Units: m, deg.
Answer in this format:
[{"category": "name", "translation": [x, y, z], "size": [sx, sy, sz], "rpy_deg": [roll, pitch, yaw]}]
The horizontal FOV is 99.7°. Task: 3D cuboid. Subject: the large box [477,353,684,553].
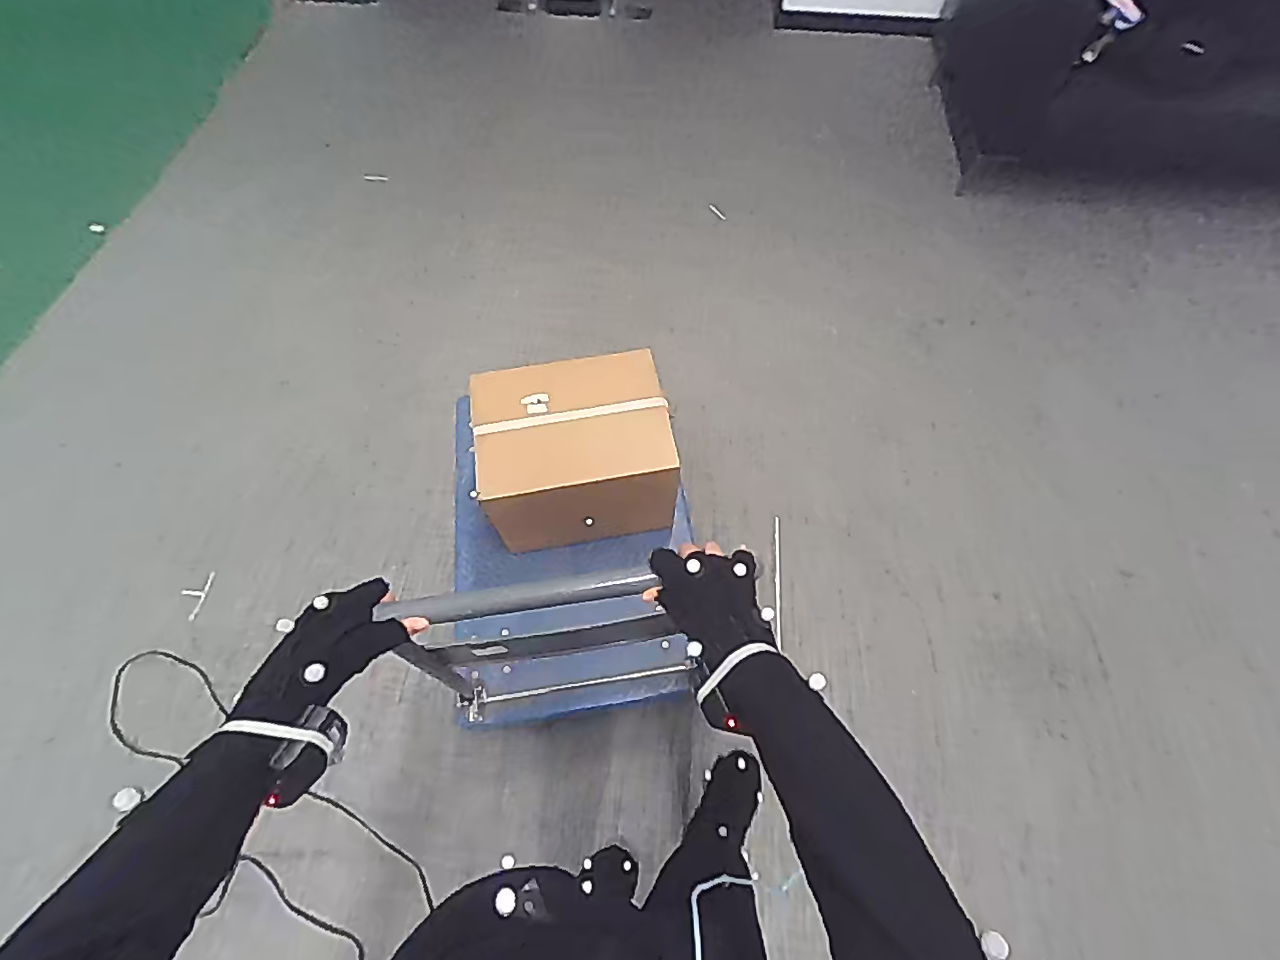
[{"category": "large box", "translation": [-0.132, -0.052, 1.269], "size": [0.408, 0.320, 0.320], "rpy_deg": [-10, 62, -5]}]
